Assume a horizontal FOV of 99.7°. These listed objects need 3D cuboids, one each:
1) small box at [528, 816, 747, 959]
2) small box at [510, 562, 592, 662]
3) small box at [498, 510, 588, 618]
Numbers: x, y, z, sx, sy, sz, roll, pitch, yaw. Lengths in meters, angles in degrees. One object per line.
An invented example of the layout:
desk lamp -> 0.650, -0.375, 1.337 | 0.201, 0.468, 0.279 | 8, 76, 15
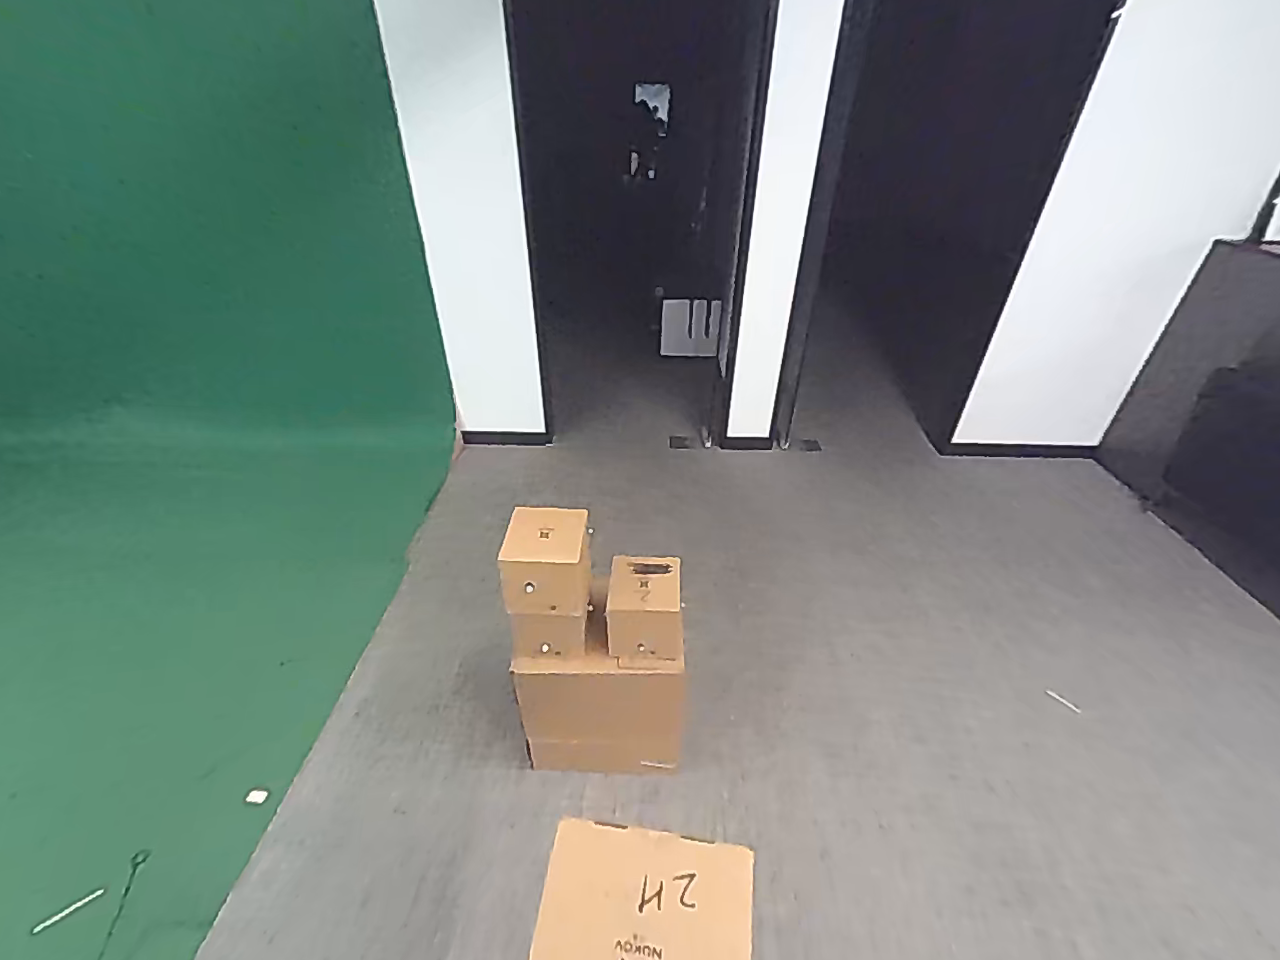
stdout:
small box -> 0.003, 0.421, 0.469 | 0.168, 0.176, 0.179 | 4, 49, 11
small box -> -0.208, 0.312, 1.308 | 0.168, 0.176, 0.179 | 3, 37, 1
small box -> -0.206, 0.187, 1.203 | 0.168, 0.176, 0.179 | 3, 36, 0
